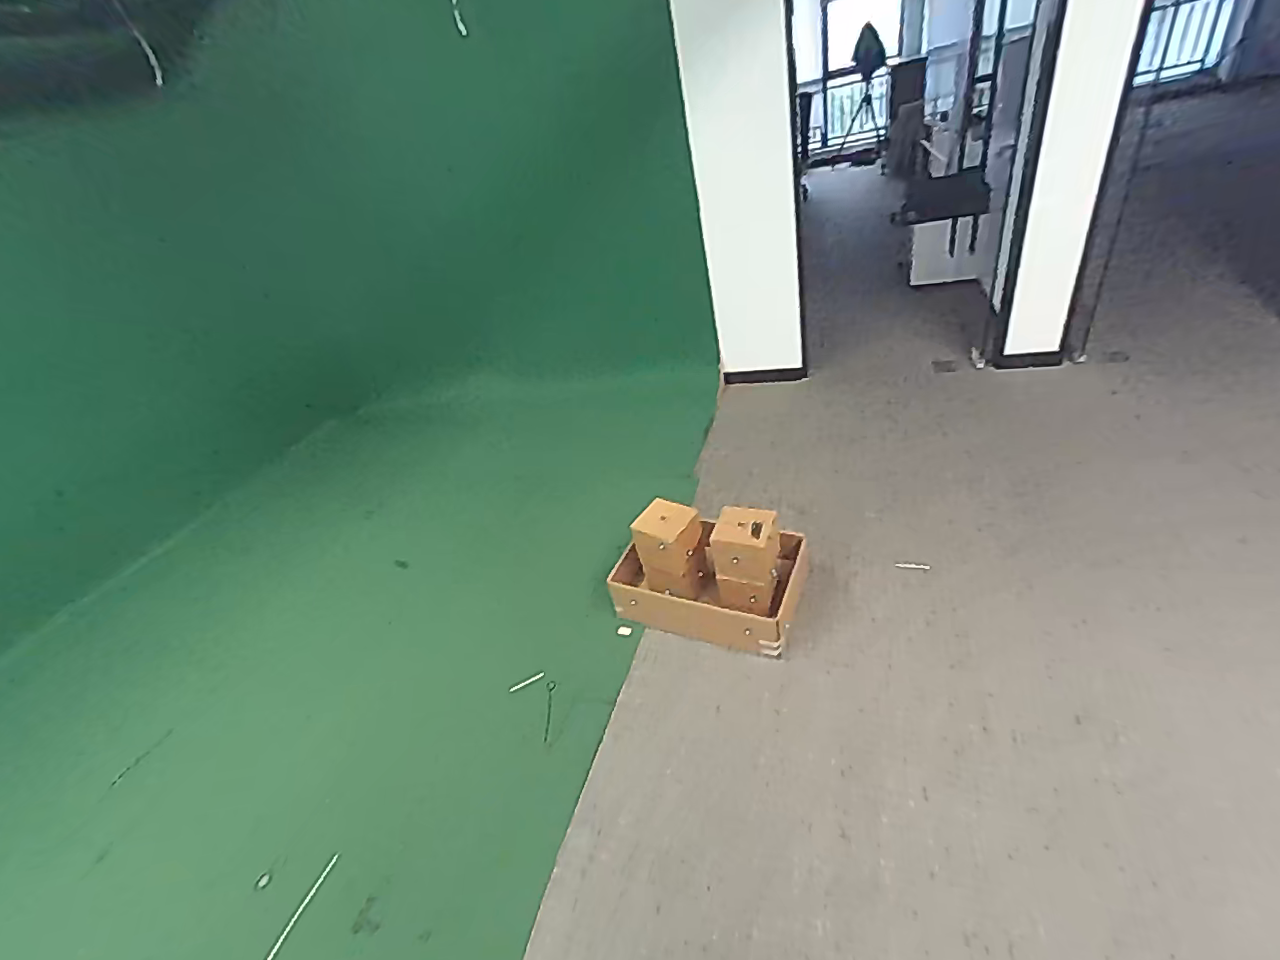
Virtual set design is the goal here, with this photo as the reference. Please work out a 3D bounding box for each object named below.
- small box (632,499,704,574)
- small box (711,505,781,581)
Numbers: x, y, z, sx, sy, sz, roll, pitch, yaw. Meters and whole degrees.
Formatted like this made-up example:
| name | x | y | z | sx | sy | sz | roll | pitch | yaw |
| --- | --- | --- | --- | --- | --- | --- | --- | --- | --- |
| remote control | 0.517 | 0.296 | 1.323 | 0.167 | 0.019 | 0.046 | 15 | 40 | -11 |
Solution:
| name | x | y | z | sx | sy | sz | roll | pitch | yaw |
| --- | --- | --- | --- | --- | --- | --- | --- | --- | --- |
| small box | 0.101 | 0.195 | 1.857 | 0.179 | 0.176 | 0.168 | 17 | 46 | 34 |
| small box | 0.348 | 0.205 | 1.744 | 0.179 | 0.176 | 0.168 | 4 | 40 | 28 |
